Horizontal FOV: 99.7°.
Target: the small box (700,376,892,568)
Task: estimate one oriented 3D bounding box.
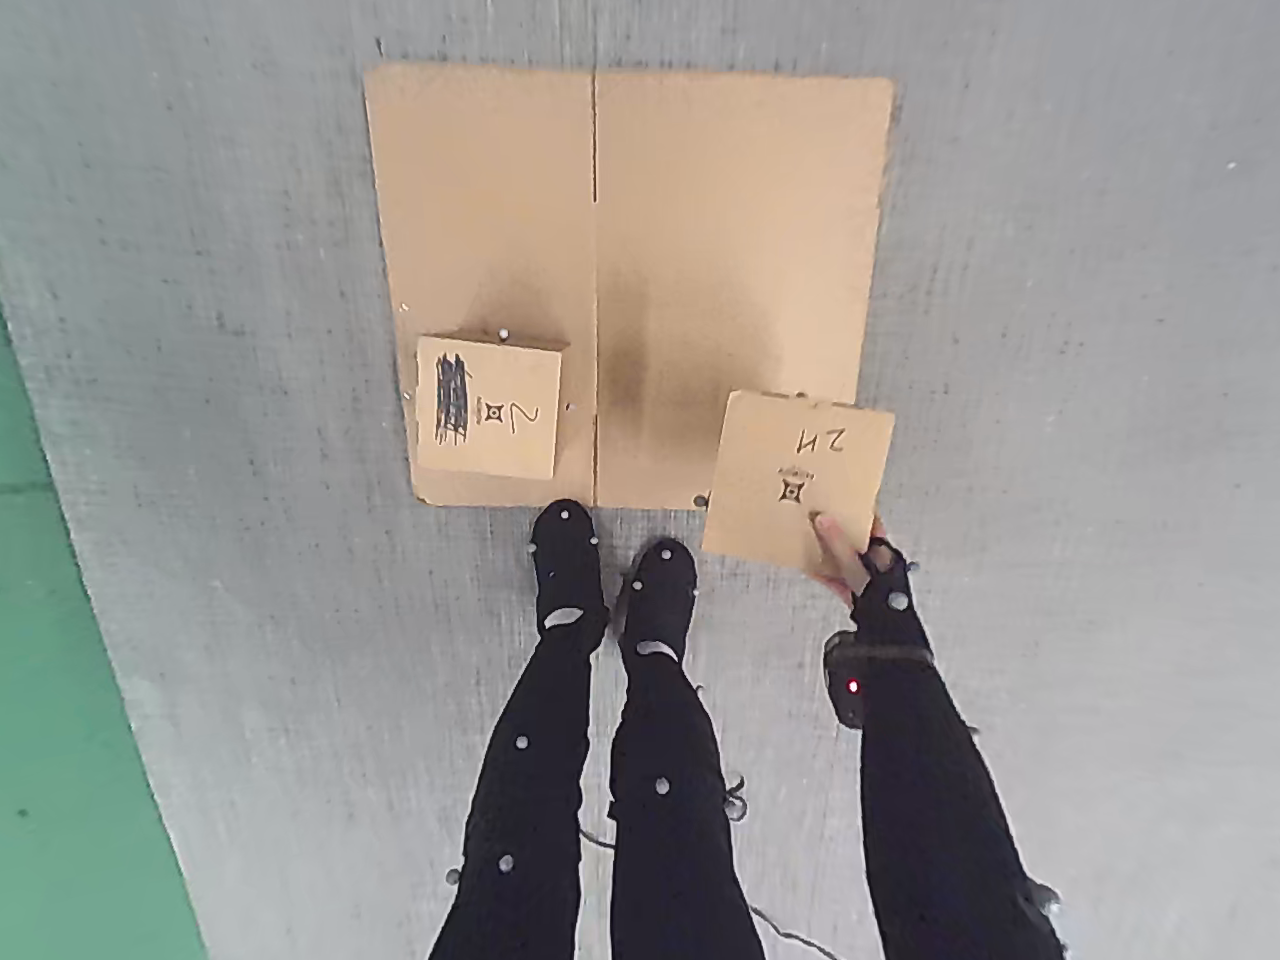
[{"bbox_3d":[0.172,-0.014,0.636,0.168,0.176,0.179,11,95,9],"label":"small box"}]
